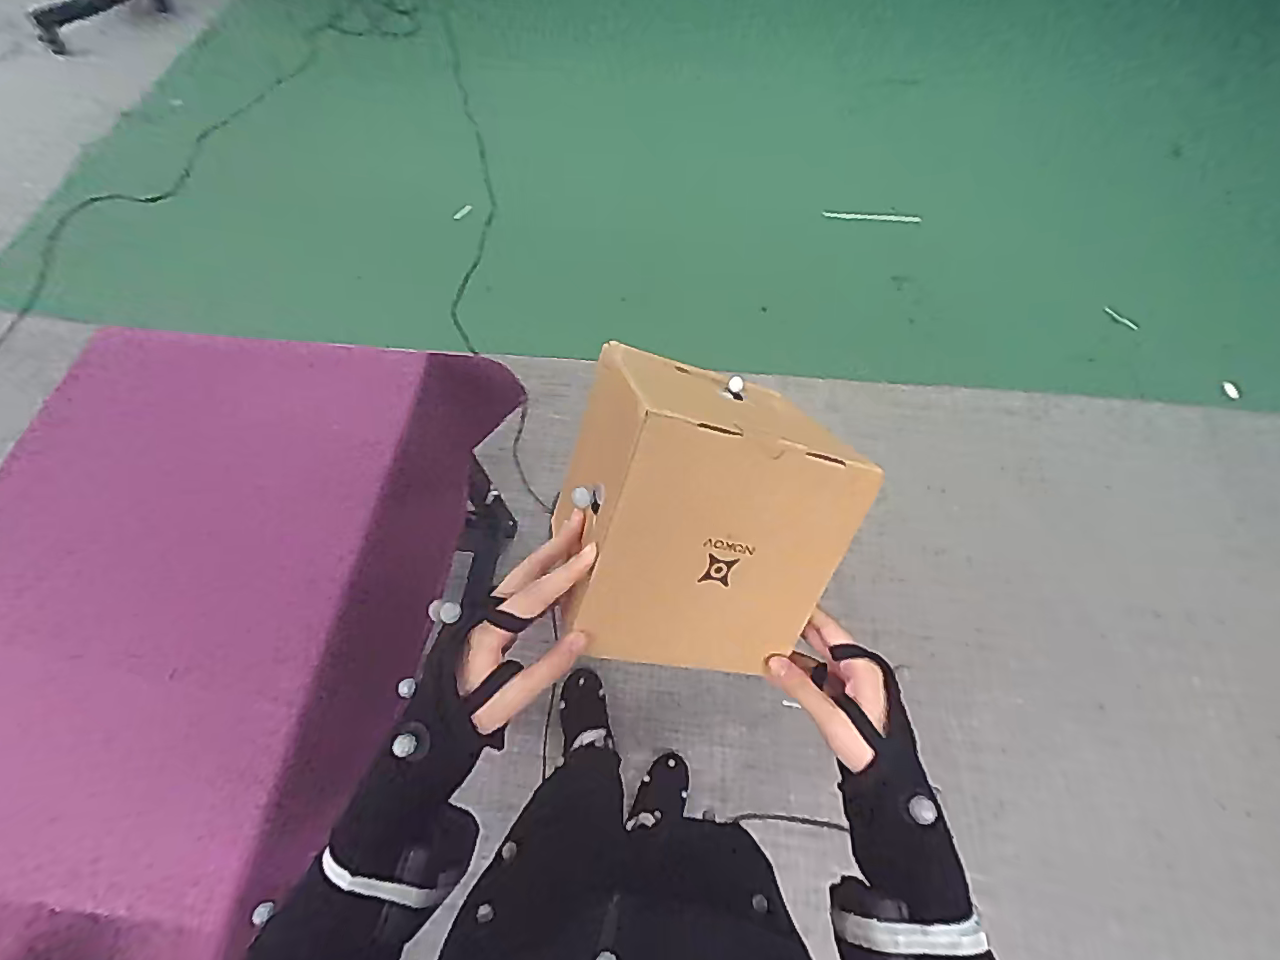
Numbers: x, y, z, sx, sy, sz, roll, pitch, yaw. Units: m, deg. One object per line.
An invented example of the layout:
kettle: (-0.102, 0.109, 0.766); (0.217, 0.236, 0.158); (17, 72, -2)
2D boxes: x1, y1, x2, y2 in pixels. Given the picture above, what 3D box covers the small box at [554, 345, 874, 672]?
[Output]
small box: (0.034, 0.015, 0.419); (0.168, 0.179, 0.176); (13, 22, -16)
